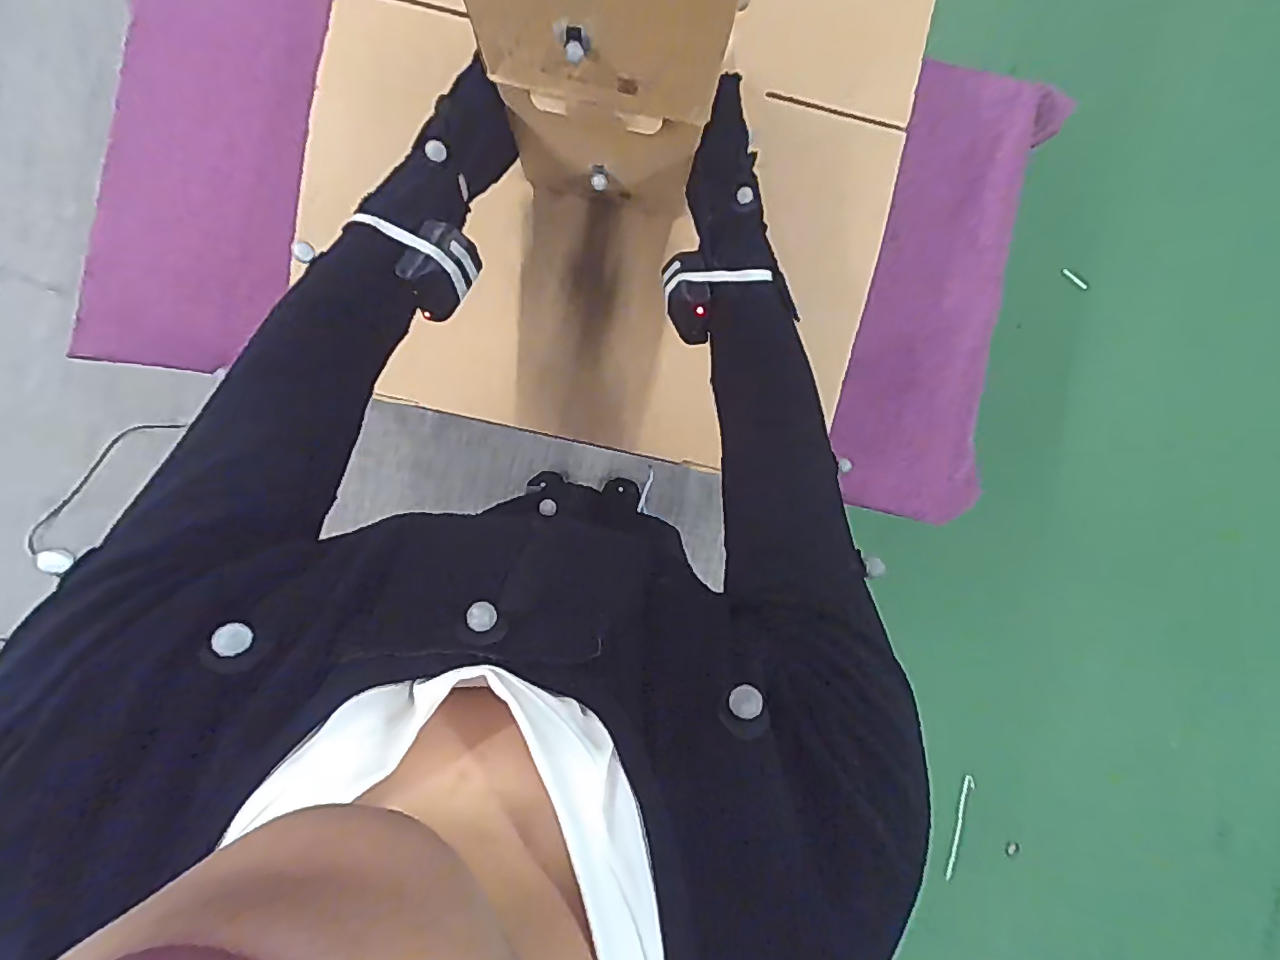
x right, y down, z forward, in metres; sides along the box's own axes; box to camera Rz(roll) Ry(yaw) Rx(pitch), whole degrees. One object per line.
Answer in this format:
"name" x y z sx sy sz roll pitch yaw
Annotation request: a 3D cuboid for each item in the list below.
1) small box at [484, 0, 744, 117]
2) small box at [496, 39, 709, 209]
"small box" -0.008 -0.366 0.319 0.168 0.176 0.179 10 92 -3
"small box" -0.014 -0.380 0.481 0.168 0.176 0.179 12 92 -2
